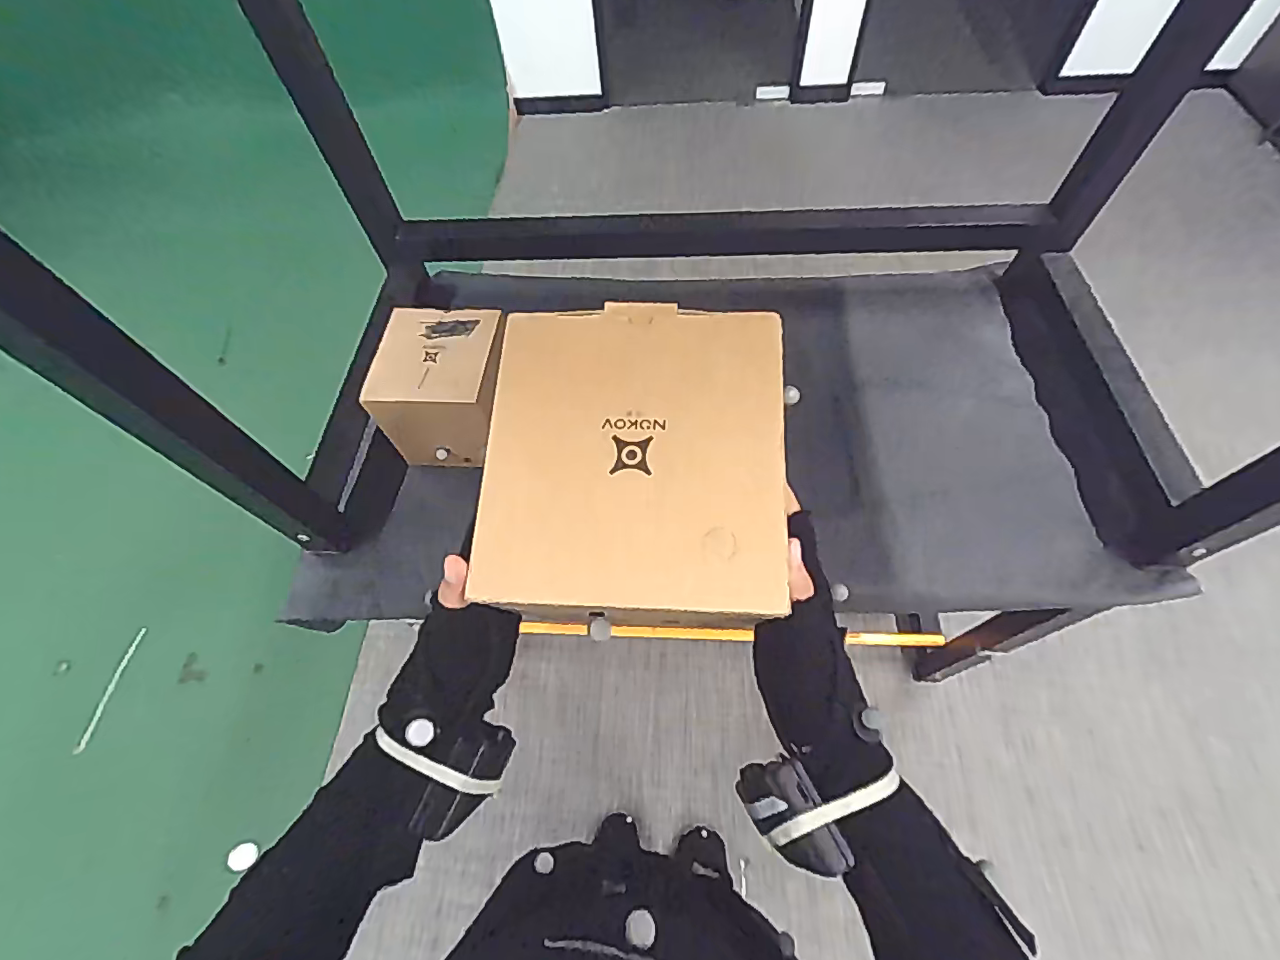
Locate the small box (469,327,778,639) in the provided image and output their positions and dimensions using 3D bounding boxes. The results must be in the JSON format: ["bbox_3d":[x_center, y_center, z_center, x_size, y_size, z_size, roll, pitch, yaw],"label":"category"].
[{"bbox_3d":[0.001,0.015,0.378,0.168,0.176,0.179,1,71,5],"label":"small box"}]

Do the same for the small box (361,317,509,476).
[{"bbox_3d":[-0.285,-0.125,0.830,0.168,0.176,0.179,2,60,5],"label":"small box"}]
